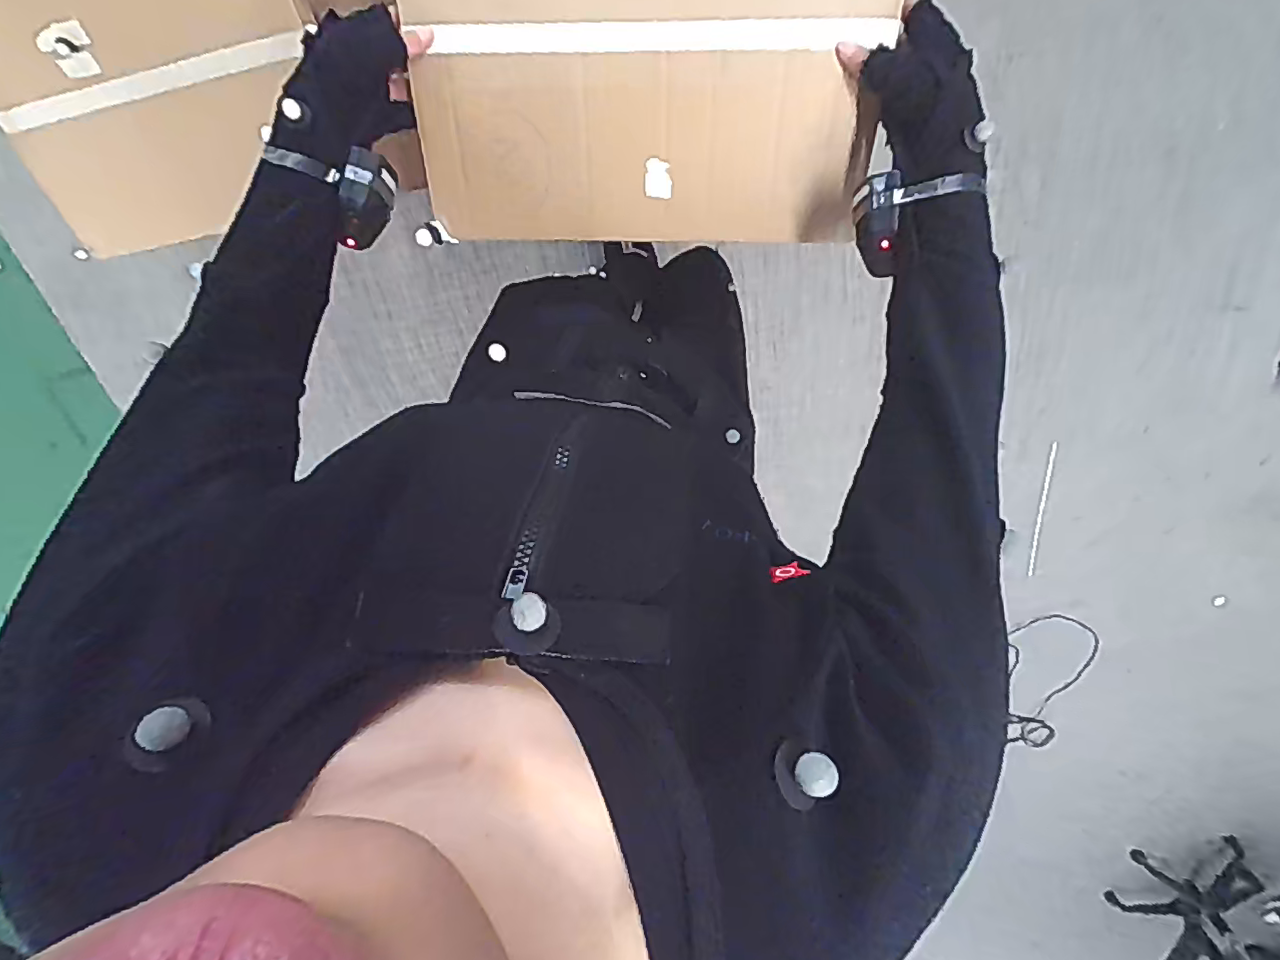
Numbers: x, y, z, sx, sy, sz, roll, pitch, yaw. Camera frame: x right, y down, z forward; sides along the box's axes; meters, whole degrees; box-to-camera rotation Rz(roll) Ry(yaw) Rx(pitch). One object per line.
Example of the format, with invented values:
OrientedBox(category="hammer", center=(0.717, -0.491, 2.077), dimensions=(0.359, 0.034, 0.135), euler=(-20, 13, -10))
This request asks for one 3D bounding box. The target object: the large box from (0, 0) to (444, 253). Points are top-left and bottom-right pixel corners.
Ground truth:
OrientedBox(category="large box", center=(-0.554, -0.539, 0.742), dimensions=(0.408, 0.320, 0.320), euler=(-8, 121, 7))
